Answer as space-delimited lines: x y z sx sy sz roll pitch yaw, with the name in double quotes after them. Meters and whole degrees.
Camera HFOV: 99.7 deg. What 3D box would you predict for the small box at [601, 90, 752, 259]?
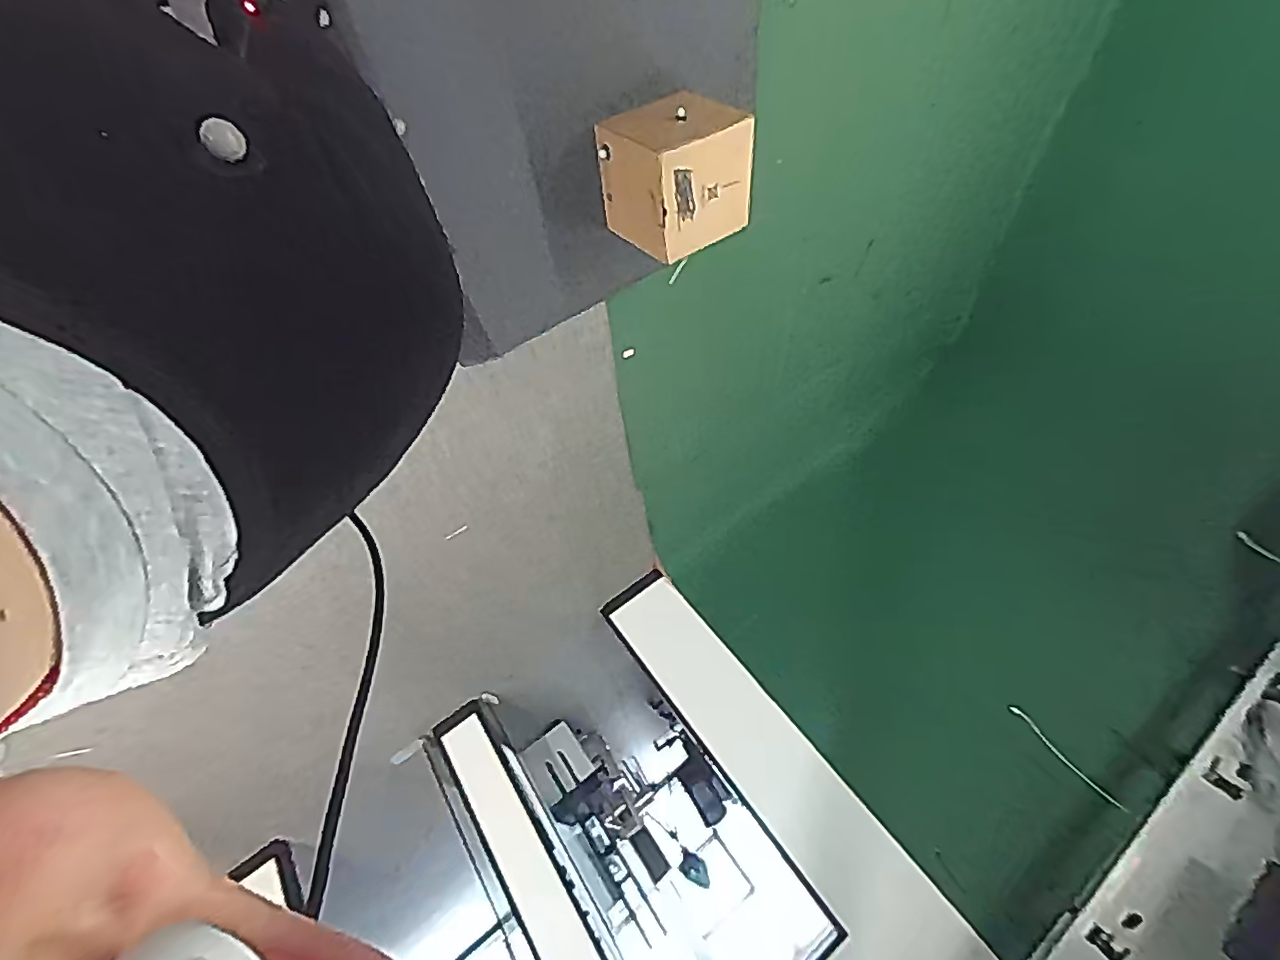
0.052 -0.487 0.859 0.179 0.176 0.168 -33 147 -18 "small box"
